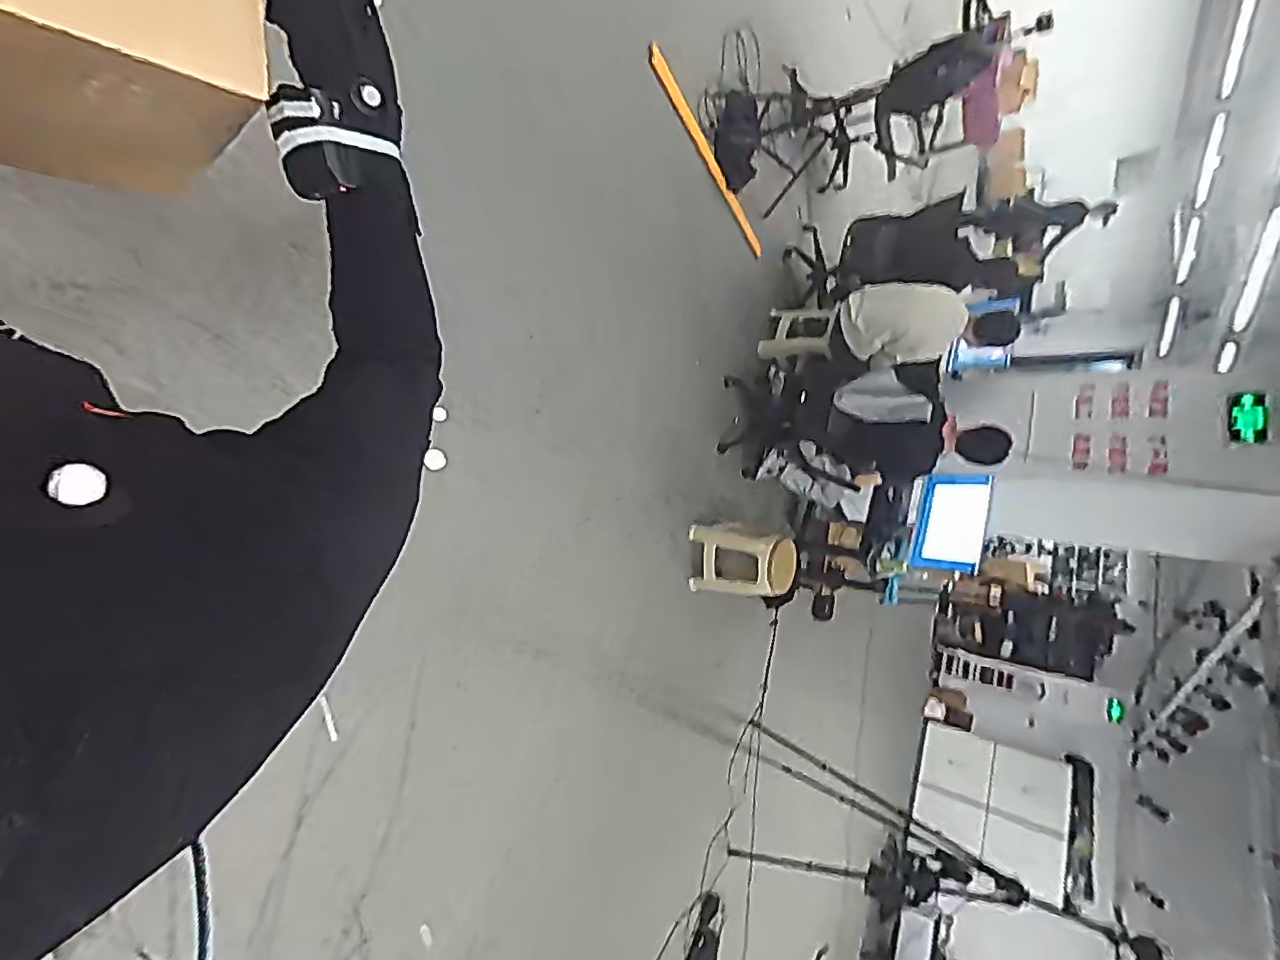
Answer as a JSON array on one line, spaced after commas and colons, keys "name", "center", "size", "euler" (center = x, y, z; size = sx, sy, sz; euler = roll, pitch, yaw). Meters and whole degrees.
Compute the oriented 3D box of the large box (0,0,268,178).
[{"name": "large box", "center": [-0.499, -0.417, 0.298], "size": [0.408, 0.320, 0.320], "euler": [-10, 106, -48]}]
